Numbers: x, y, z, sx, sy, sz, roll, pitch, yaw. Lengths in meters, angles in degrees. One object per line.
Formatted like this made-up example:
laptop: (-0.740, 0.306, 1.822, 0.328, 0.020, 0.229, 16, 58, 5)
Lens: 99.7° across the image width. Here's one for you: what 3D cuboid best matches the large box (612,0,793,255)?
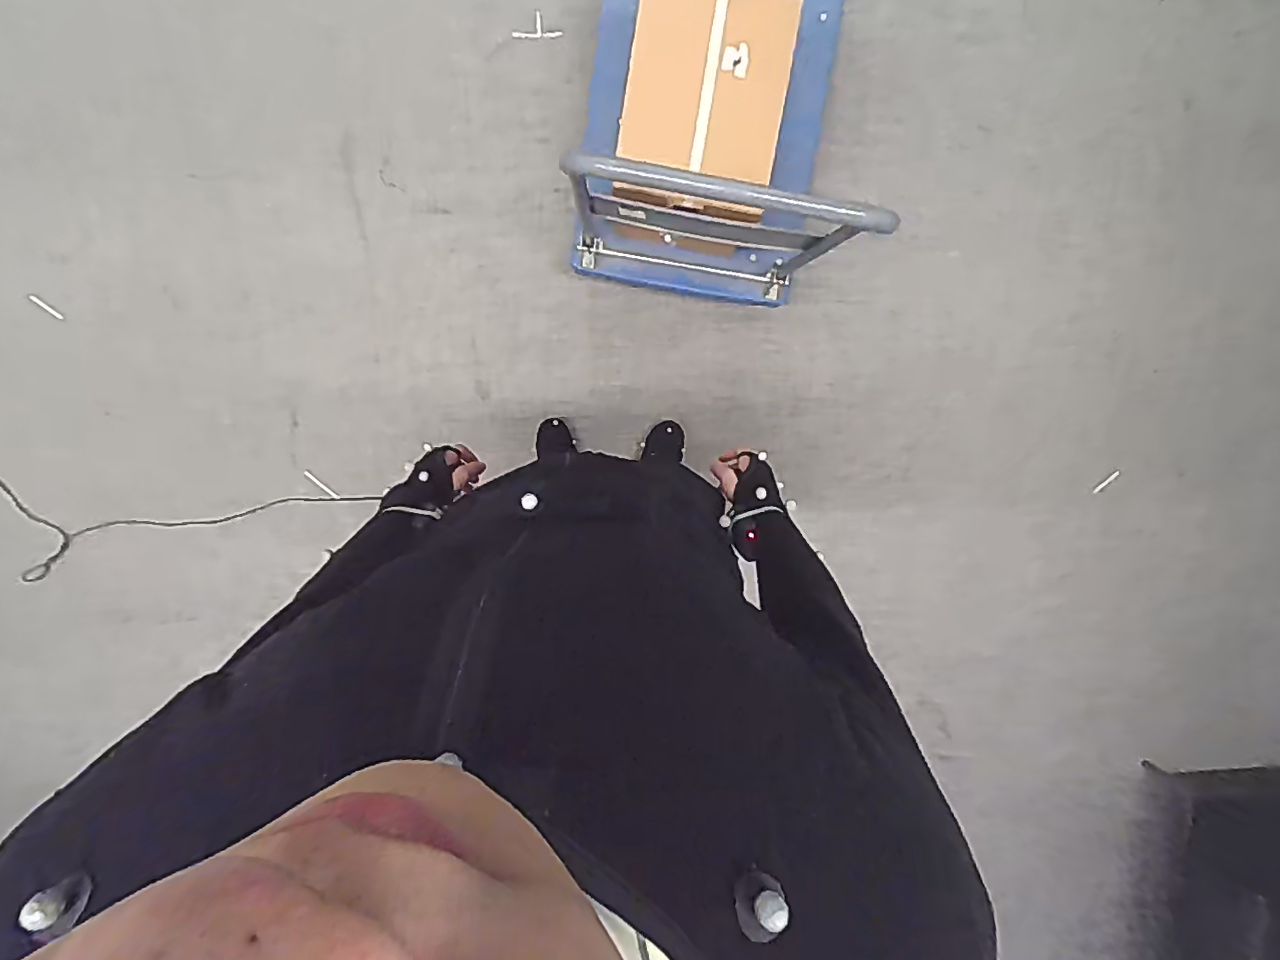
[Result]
large box: (0.117, -0.771, 1.213, 0.320, 0.320, 0.408, 9, 96, -4)
